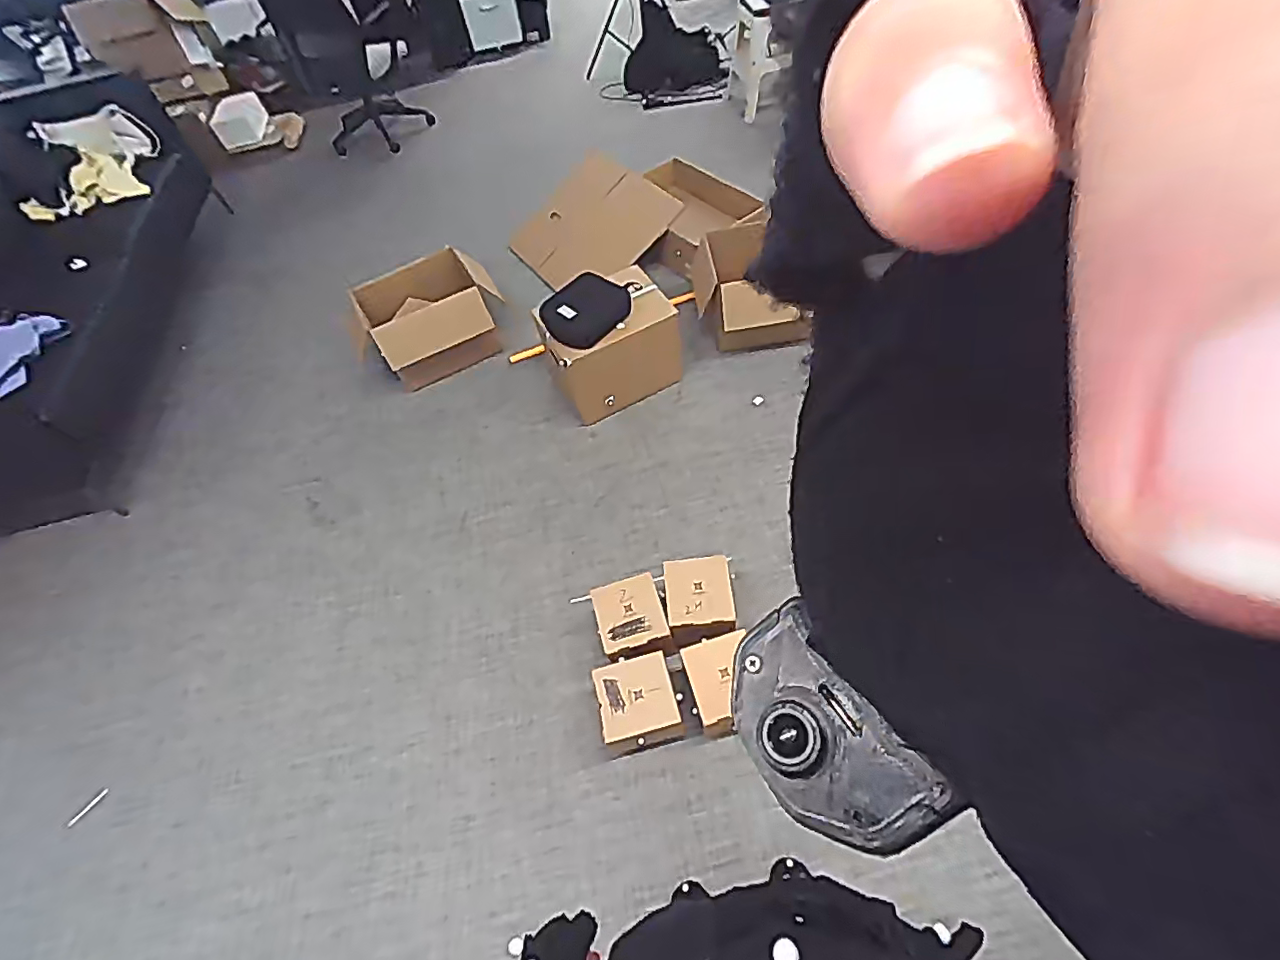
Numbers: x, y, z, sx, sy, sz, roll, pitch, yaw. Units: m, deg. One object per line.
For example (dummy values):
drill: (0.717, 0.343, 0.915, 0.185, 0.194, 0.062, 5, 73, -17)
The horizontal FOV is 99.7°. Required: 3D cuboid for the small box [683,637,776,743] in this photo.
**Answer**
small box: (0.208, 0.505, 1.290, 0.168, 0.176, 0.179, -17, 56, -3)
